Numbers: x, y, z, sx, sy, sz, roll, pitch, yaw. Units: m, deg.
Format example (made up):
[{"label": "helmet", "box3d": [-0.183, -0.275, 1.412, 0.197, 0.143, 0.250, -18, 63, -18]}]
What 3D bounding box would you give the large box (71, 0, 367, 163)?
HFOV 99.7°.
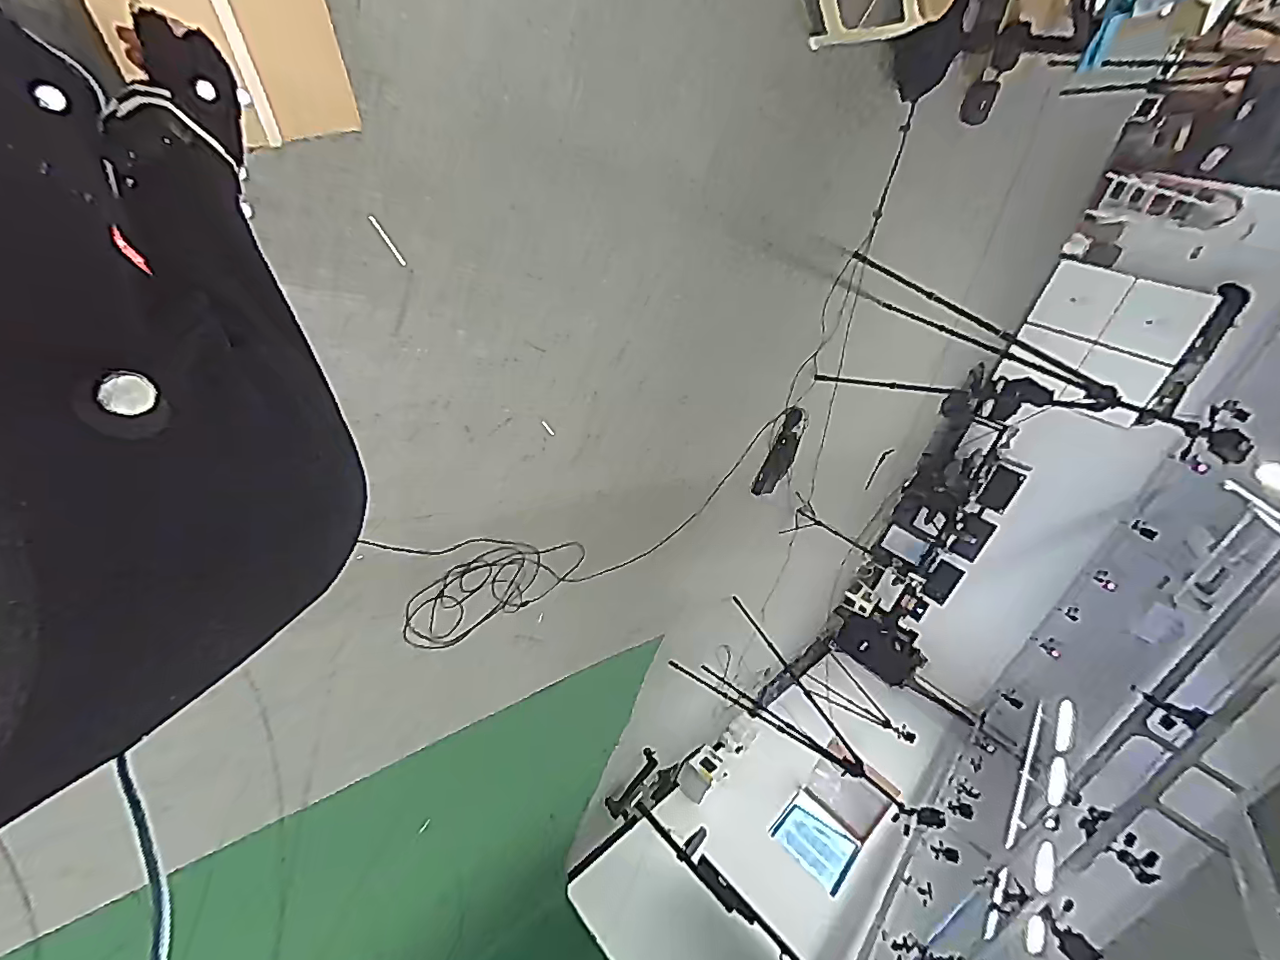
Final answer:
[{"label": "large box", "box3d": [-0.723, -0.787, 0.878, 0.320, 0.320, 0.408, -34, 141, -31]}]
